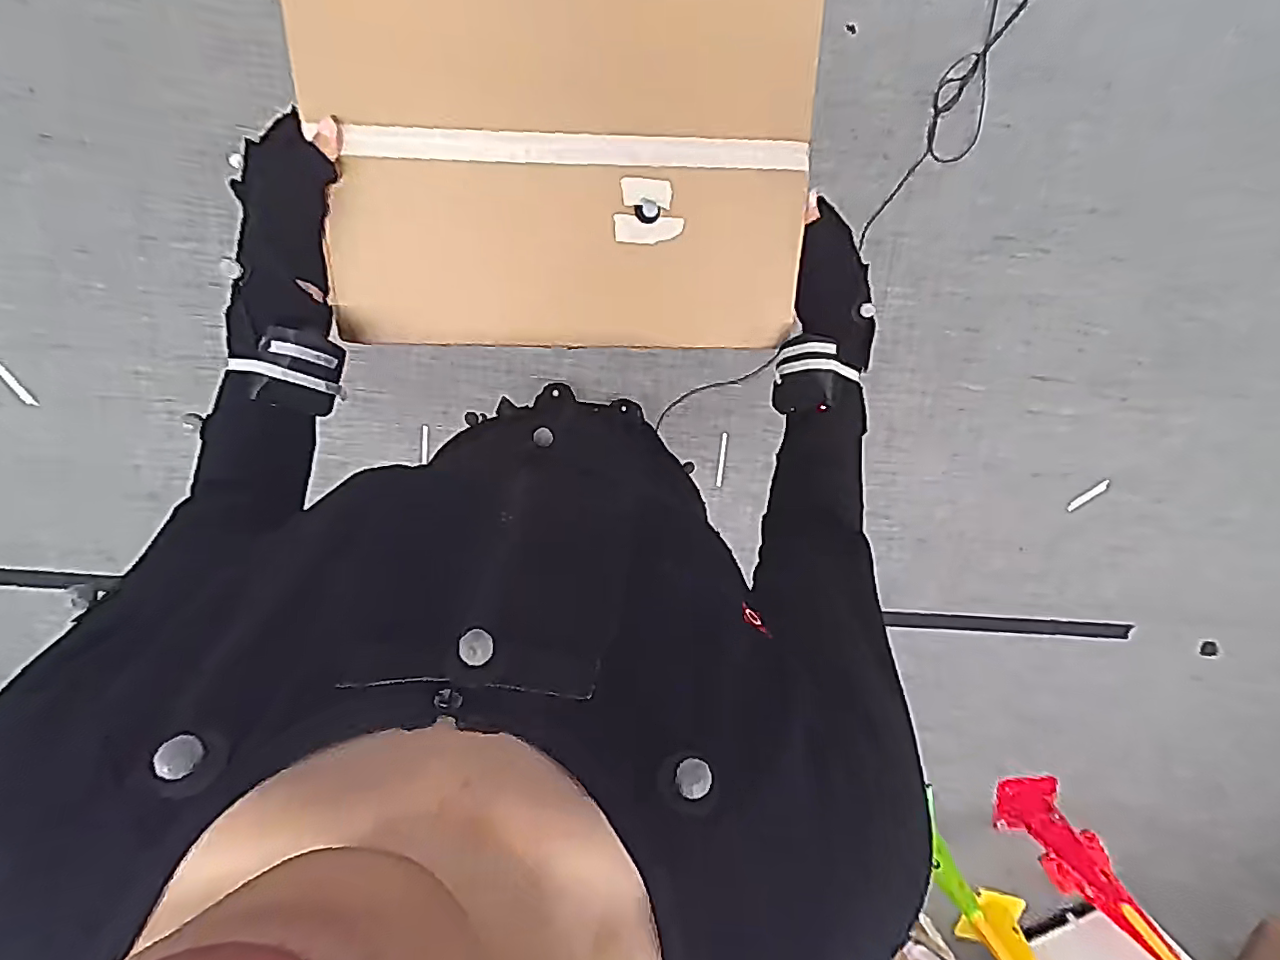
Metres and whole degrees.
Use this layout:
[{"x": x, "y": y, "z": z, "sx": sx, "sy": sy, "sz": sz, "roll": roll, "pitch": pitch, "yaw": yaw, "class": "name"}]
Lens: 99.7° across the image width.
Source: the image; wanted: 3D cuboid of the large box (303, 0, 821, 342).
[{"x": -0.068, "y": -0.323, "z": 0.586, "sx": 0.408, "sy": 0.320, "sz": 0.320, "roll": -1, "pitch": 110, "yaw": -5, "class": "large box"}]
